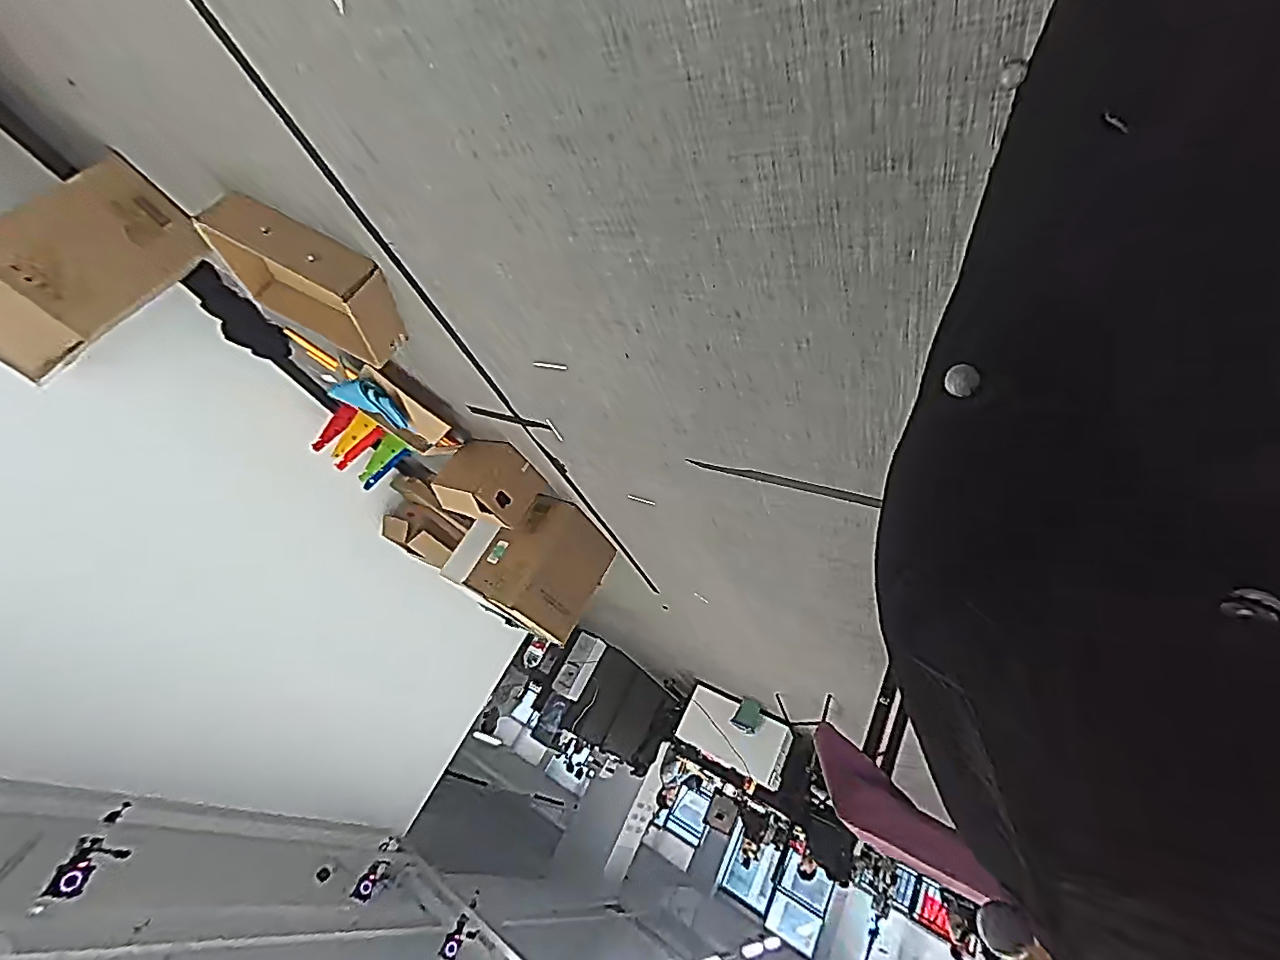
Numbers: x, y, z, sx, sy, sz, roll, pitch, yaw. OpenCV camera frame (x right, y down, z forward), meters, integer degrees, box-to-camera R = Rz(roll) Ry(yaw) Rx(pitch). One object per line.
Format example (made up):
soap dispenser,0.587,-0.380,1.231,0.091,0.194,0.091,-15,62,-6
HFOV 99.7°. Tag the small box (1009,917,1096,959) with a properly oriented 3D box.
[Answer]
small box,1.295,1.526,1.706,0.179,0.176,0.168,18,154,29
